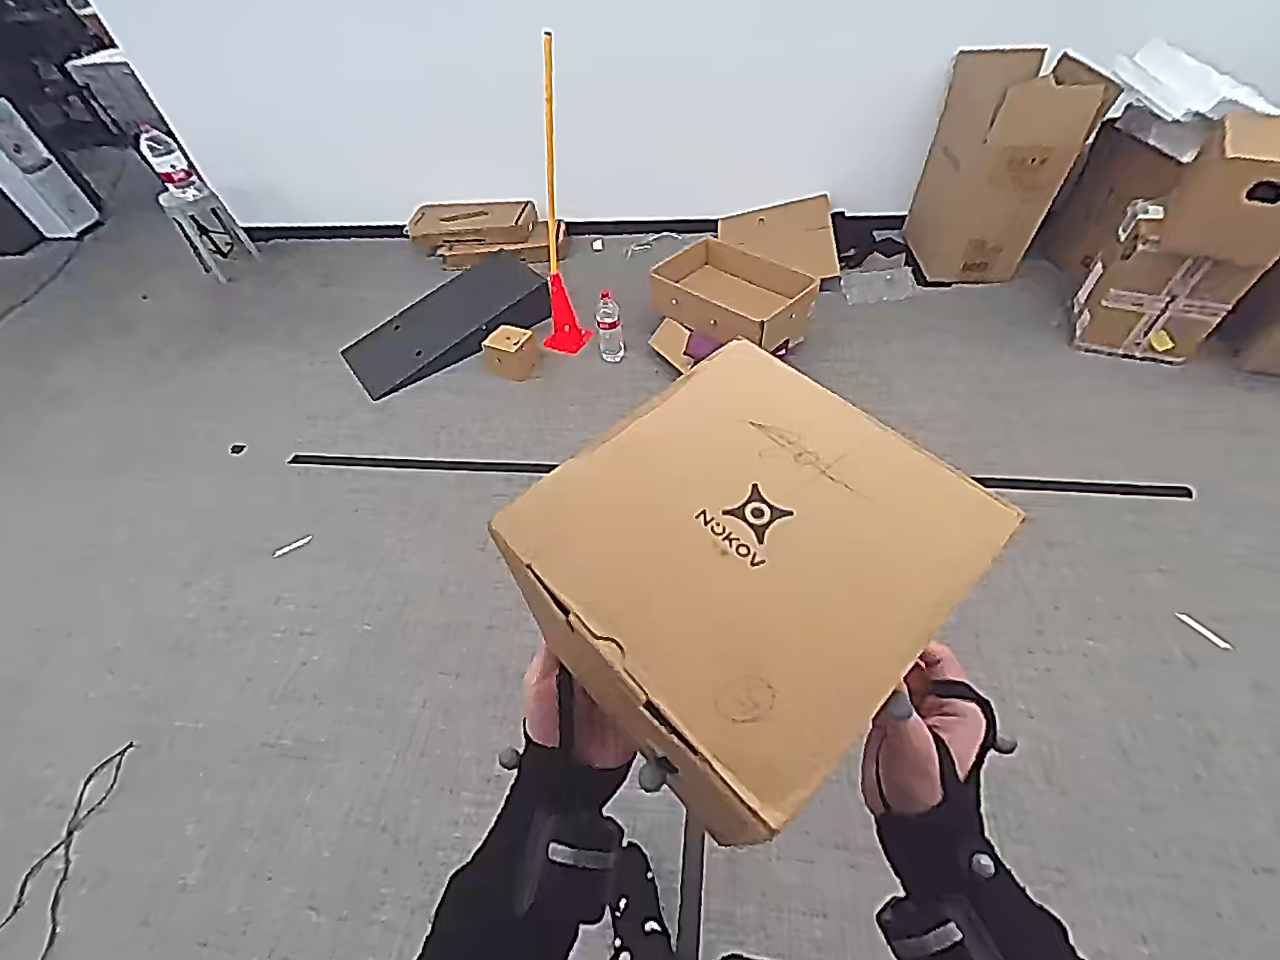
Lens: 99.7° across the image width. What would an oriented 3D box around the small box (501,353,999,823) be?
[{"bbox_3d":[0.052,0.067,0.316,0.179,0.176,0.168,-39,64,-23],"label":"small box"}]
